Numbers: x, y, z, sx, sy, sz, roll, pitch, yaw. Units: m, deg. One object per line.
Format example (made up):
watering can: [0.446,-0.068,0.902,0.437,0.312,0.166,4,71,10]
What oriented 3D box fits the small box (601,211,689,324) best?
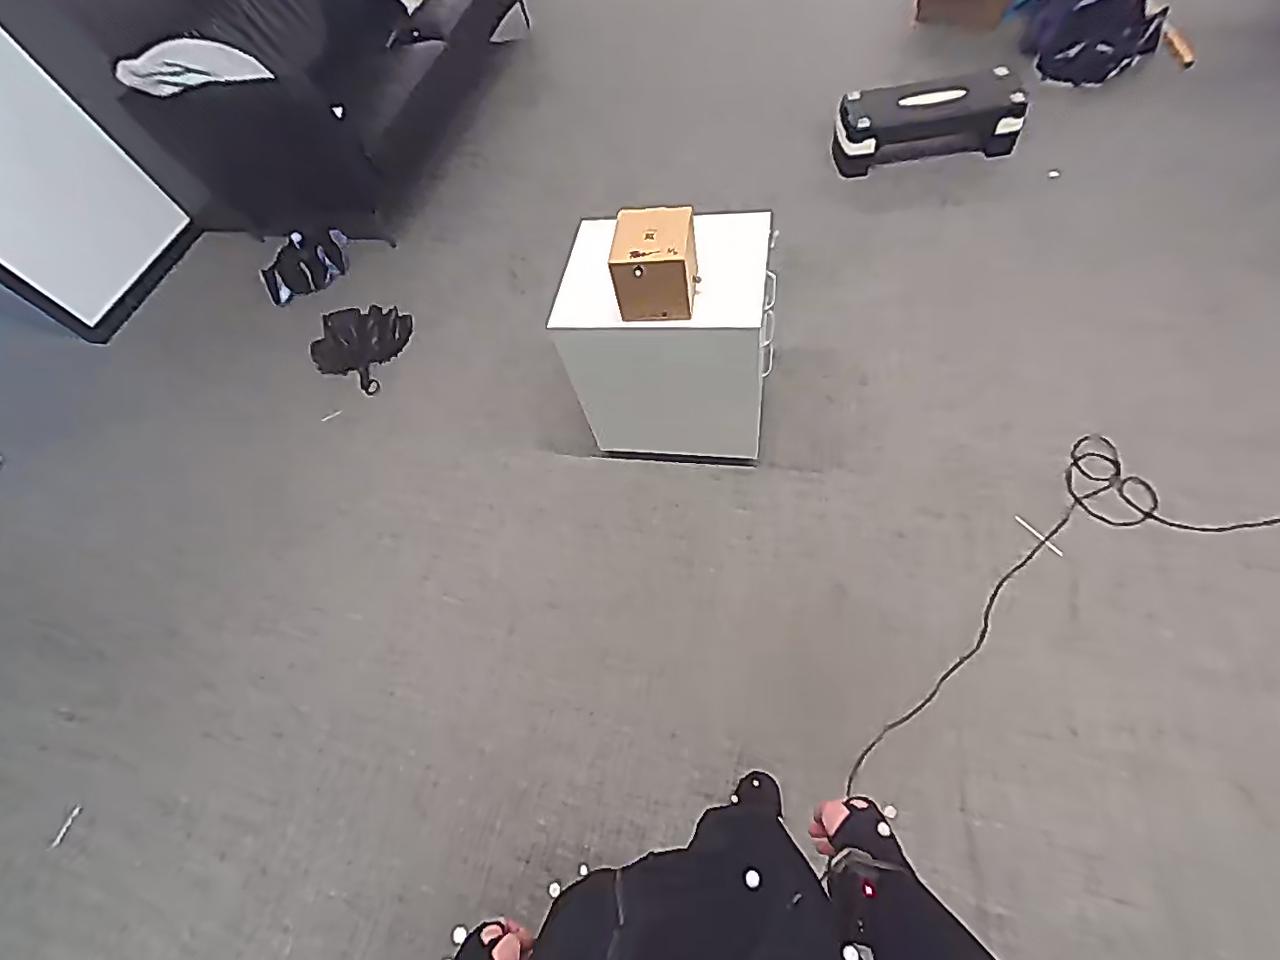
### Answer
small box: [0.019,-0.479,1.227,0.168,0.176,0.179,1,59,12]
